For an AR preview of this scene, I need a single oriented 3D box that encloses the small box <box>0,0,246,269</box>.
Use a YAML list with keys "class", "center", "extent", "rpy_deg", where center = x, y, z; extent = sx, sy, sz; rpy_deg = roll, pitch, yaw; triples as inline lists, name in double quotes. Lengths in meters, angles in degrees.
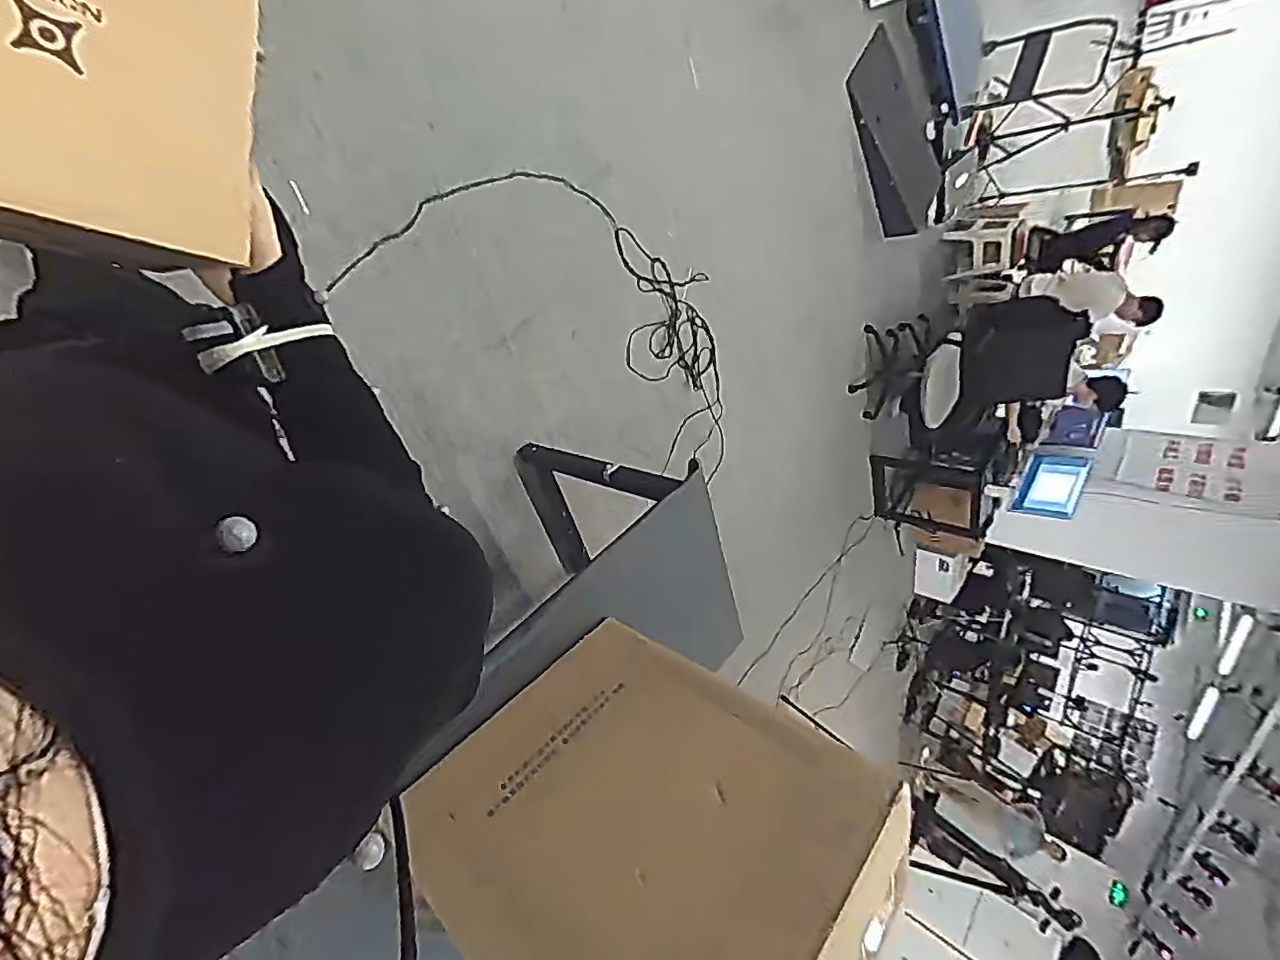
- class: "small box"
  center: [-0.347, -0.226, 0.295]
  extent: [0.168, 0.176, 0.179]
  rpy_deg: [-1, 102, -55]
